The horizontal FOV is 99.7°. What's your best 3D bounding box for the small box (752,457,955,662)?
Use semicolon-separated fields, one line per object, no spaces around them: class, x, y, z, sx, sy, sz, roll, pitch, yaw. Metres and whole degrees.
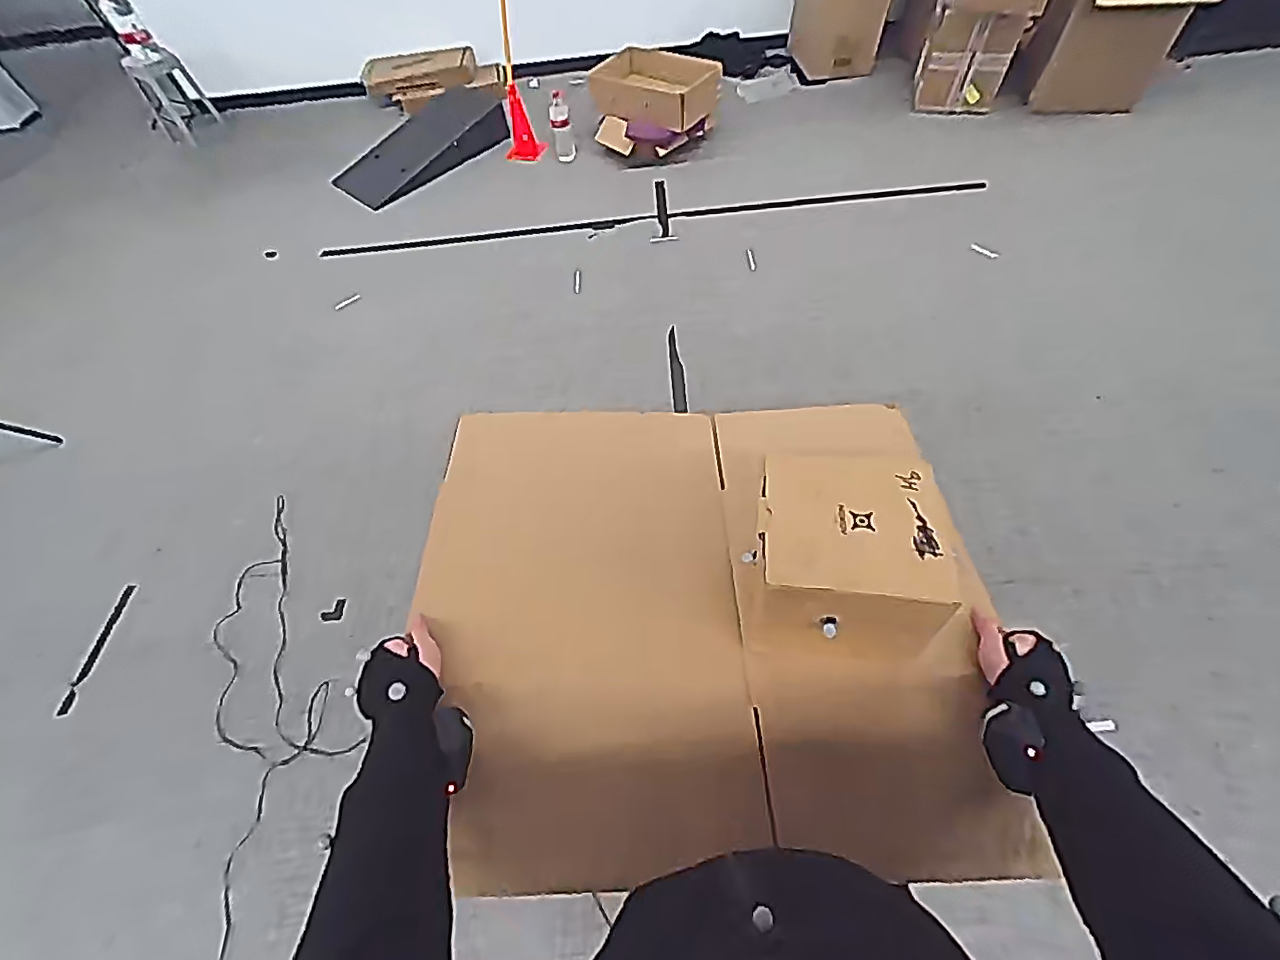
small box;0.220;0.092;0.611;0.179;0.176;0.168;3;53;9
